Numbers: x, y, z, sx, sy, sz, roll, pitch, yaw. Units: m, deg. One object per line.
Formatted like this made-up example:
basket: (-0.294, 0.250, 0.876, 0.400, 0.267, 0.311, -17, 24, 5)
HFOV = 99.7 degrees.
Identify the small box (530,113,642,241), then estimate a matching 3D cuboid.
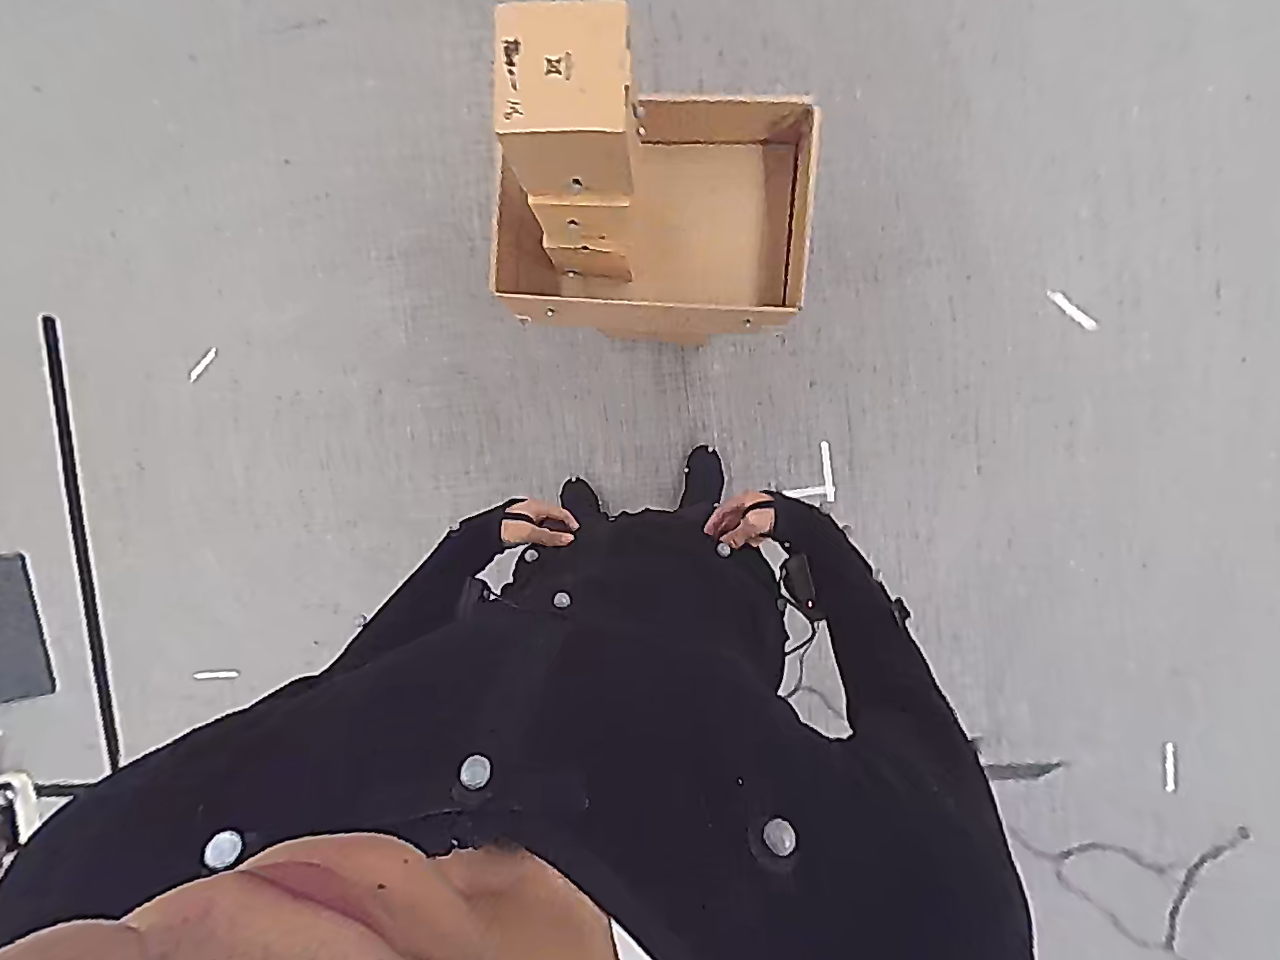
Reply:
small box: (-0.085, -0.532, 0.936, 0.168, 0.176, 0.179, 4, 92, 3)

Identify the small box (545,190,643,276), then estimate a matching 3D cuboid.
small box: (-0.086, -0.530, 1.099, 0.168, 0.176, 0.179, 7, 93, 3)

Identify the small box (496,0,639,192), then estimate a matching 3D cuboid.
small box: (-0.093, -0.534, 0.772, 0.179, 0.176, 0.168, 3, 92, 2)
